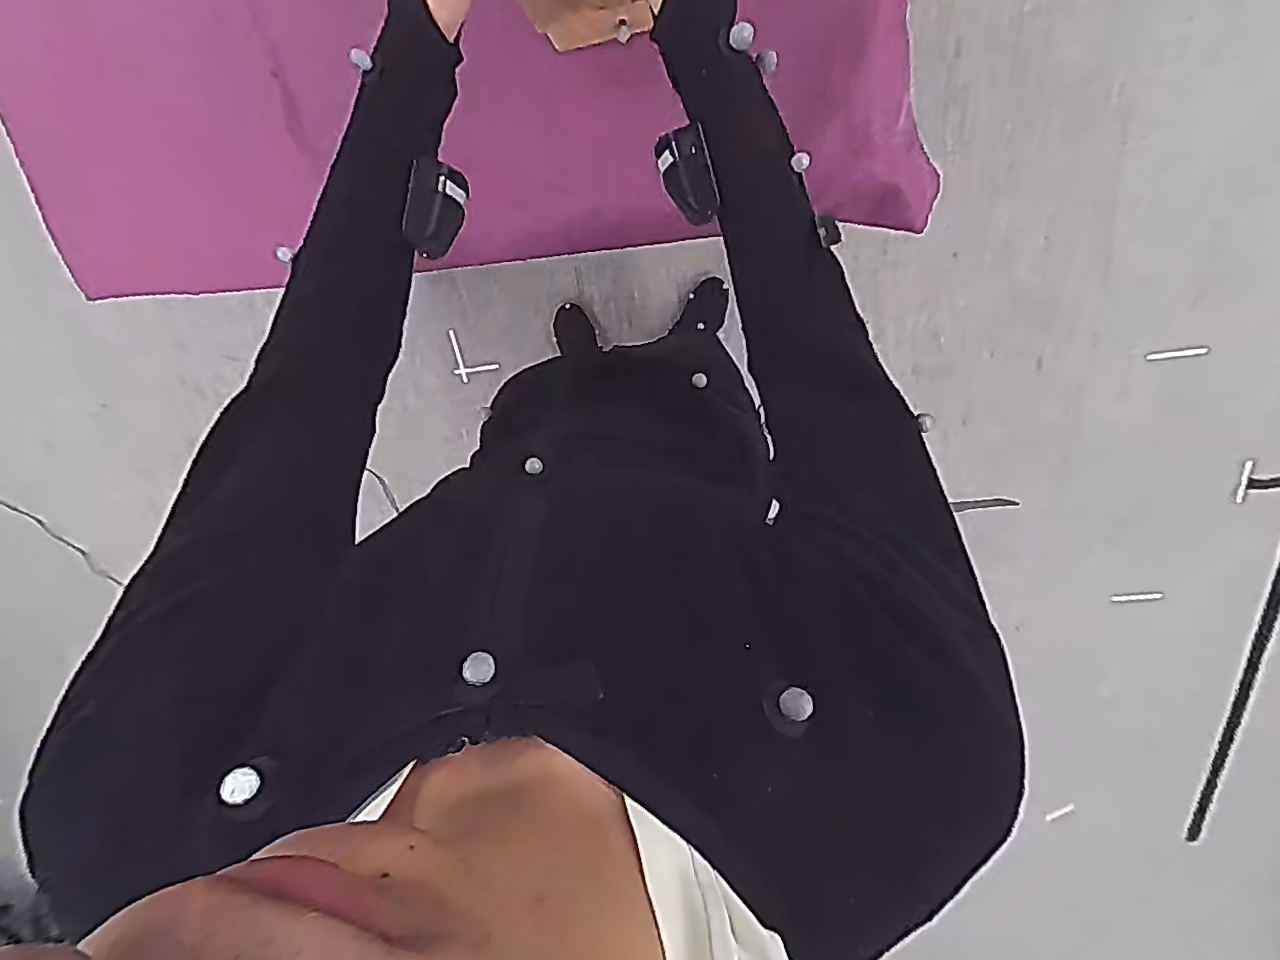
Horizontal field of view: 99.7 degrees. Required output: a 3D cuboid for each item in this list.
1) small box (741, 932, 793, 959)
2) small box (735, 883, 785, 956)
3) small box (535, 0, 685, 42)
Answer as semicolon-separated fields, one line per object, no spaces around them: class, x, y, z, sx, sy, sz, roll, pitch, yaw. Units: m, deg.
small box;0.477;1.789;1.971;0.179;0.176;0.168;-10;112;6
small box;0.468;1.726;2.123;0.168;0.176;0.179;-3;112;3
small box;-0.038;-0.604;0.568;0.179;0.176;0.168;-9;111;7
